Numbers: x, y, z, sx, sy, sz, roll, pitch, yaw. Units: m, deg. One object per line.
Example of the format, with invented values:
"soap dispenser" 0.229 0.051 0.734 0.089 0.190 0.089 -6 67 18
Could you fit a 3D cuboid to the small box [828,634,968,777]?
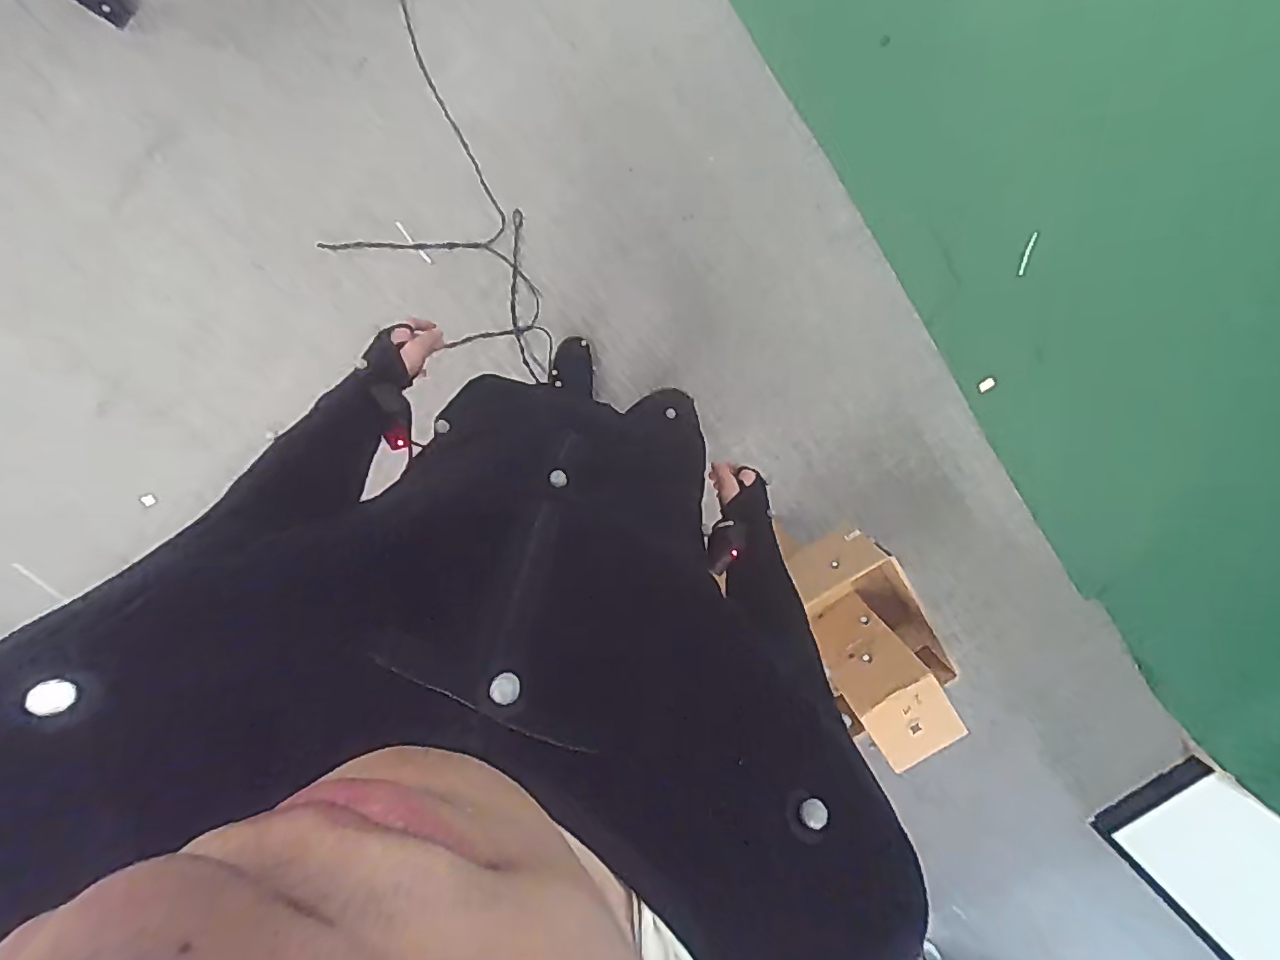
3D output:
"small box" 0.522 0.456 1.115 0.168 0.176 0.179 -33 105 6
